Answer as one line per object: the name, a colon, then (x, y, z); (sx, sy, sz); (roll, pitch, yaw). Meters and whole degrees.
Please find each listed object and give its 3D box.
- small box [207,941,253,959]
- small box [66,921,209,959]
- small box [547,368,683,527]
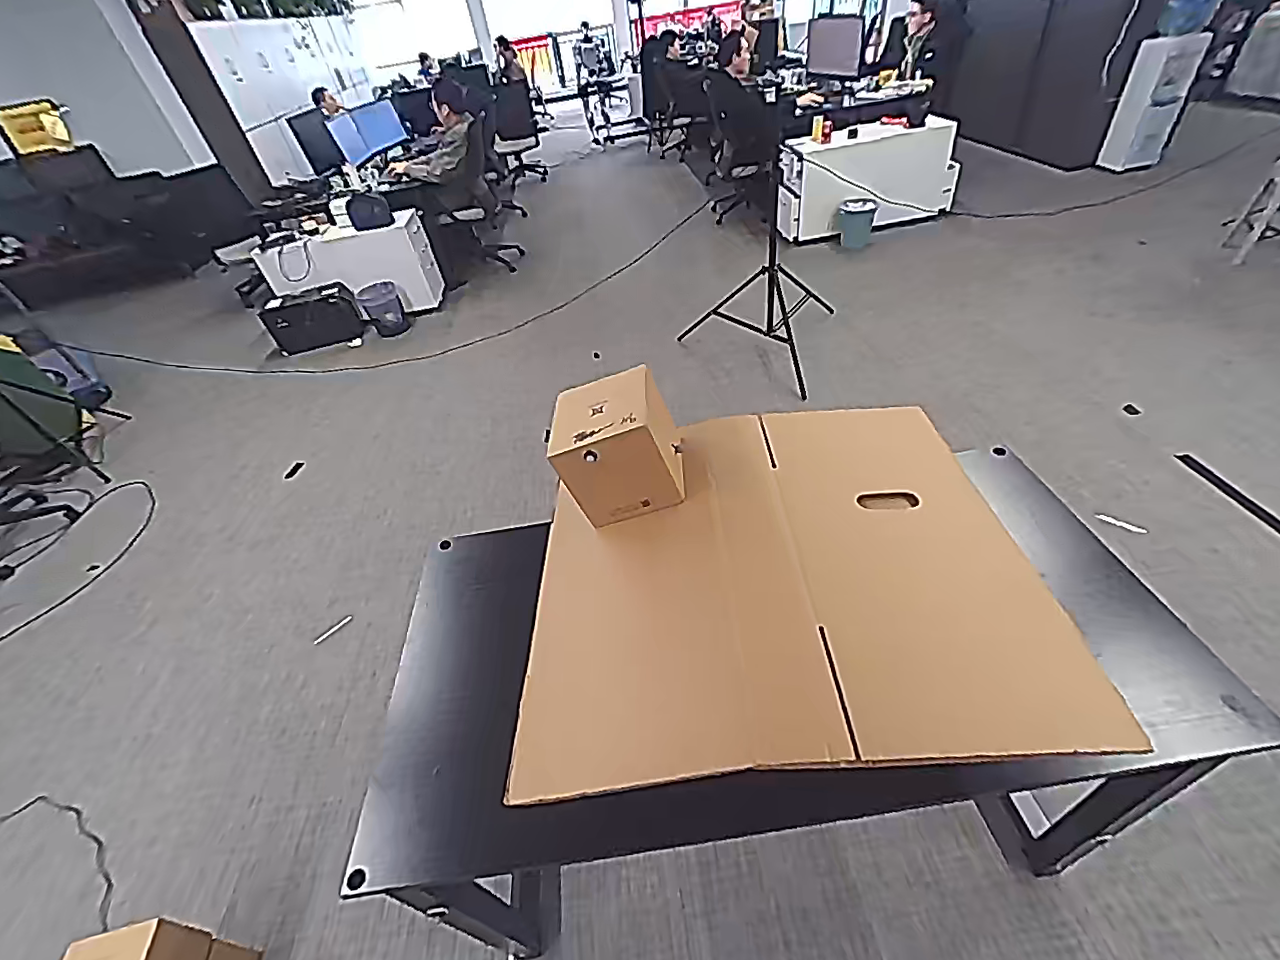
small box: (-0.951, 1.107, 1.129); (0.168, 0.176, 0.179); (-12, 42, -2)
small box: (-0.975, 0.983, 1.026); (0.168, 0.176, 0.179); (-14, 40, -5)
small box: (-0.033, -0.052, 0.901); (0.168, 0.176, 0.179); (-18, 38, 15)
